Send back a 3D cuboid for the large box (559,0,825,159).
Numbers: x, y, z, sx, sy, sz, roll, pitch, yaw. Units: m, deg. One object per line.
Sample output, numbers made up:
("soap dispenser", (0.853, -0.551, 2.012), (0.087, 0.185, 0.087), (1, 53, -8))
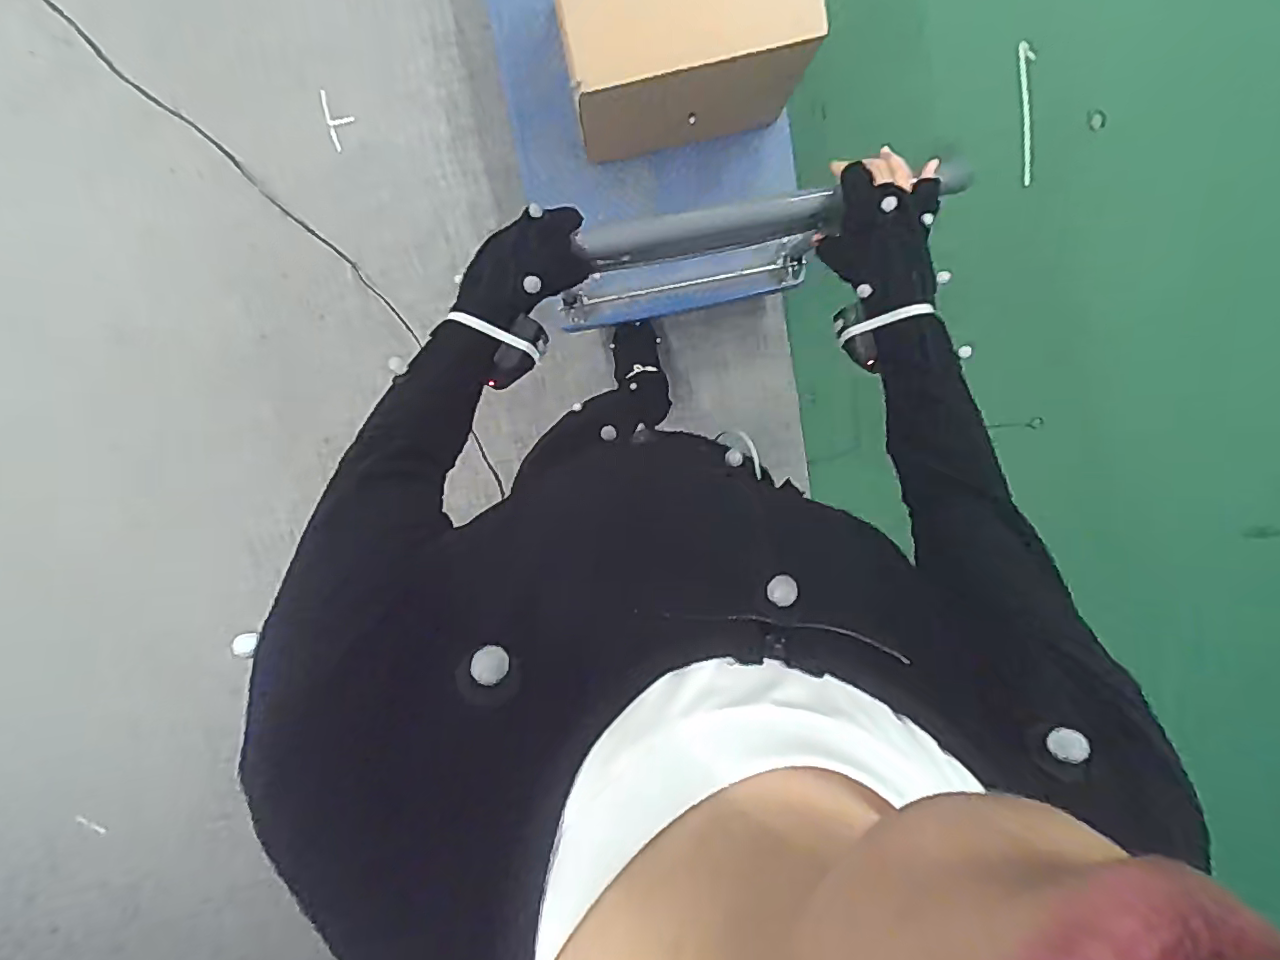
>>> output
("large box", (0.067, -0.843, 0.977), (0.408, 0.320, 0.320), (-13, 101, 3))
